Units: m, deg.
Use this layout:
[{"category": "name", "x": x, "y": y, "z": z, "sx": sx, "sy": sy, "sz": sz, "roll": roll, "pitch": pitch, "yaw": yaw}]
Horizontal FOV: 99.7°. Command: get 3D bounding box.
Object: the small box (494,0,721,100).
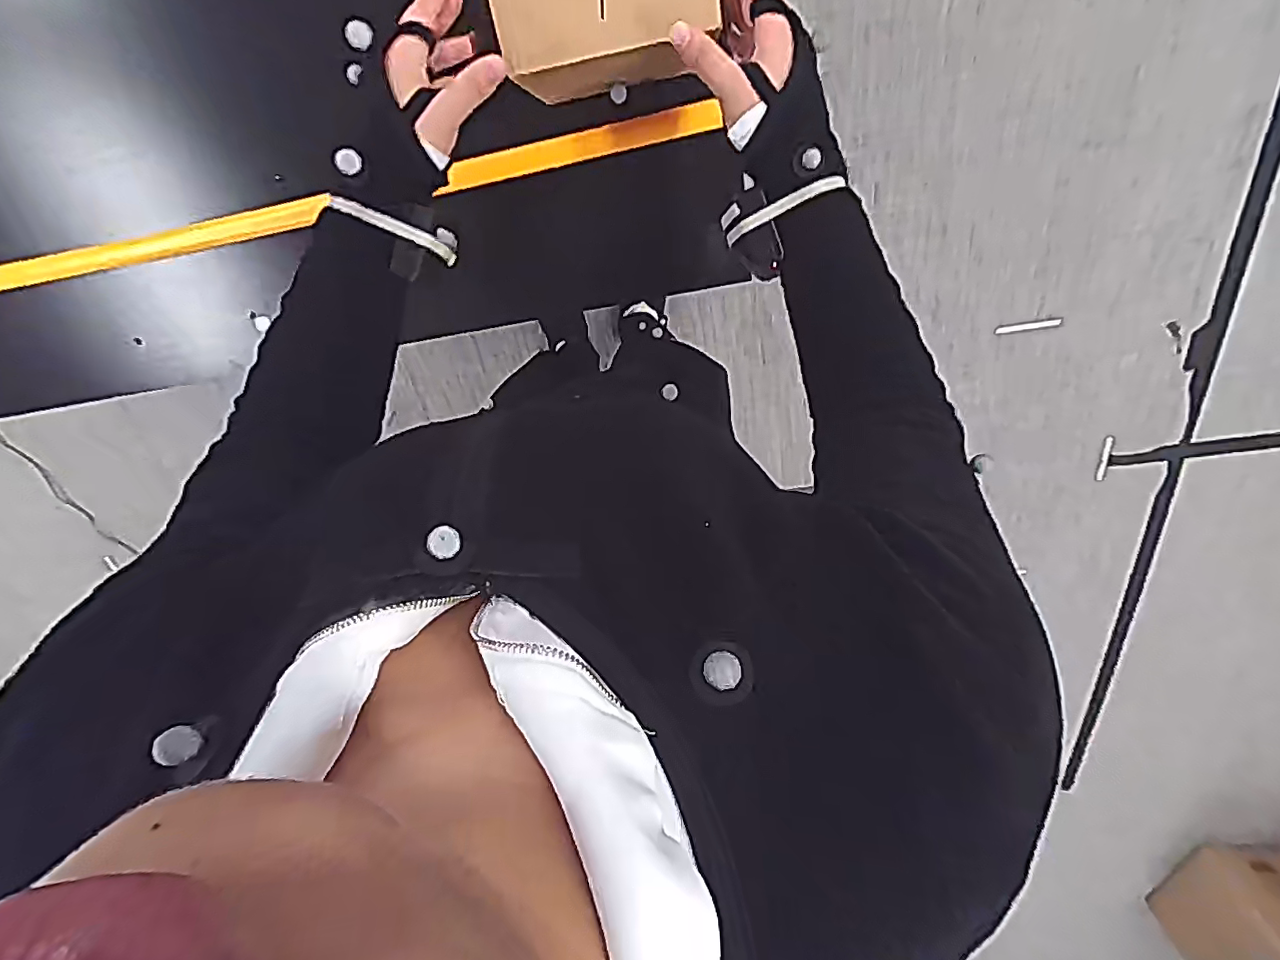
[{"category": "small box", "x": -0.030, "y": -0.434, "z": 0.434, "sx": 0.168, "sy": 0.176, "sz": 0.179, "roll": -7, "pitch": 119, "yaw": 7}]
